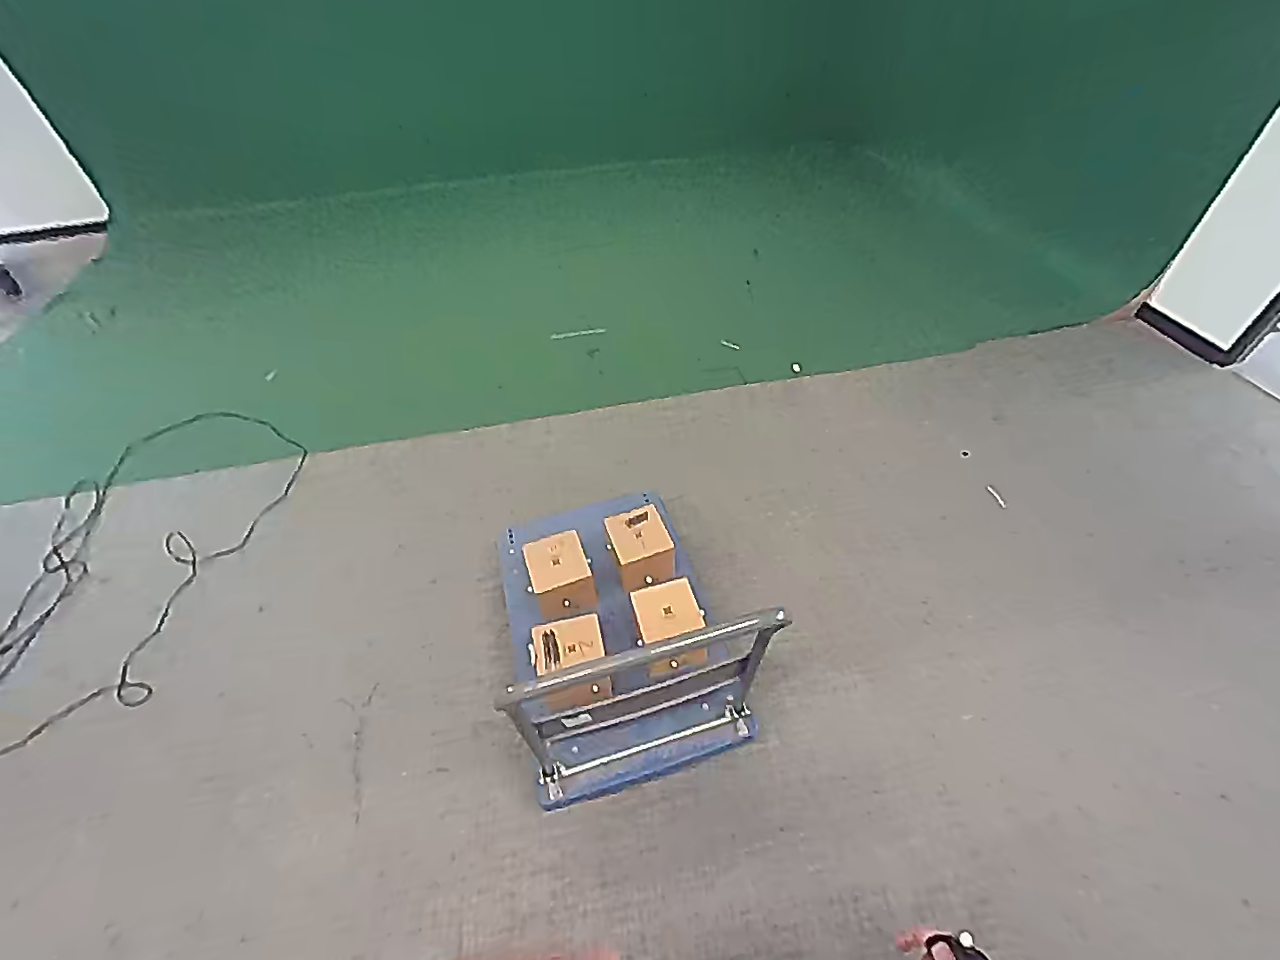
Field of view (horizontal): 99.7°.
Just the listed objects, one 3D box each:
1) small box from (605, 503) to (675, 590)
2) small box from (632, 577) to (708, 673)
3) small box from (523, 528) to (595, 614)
[{"bbox_3d":[-0.001,0.204,1.652,0.168,0.176,0.179,-17,51,-11],"label":"small box"},{"bbox_3d":[0.076,0.397,1.479,0.168,0.176,0.179,-13,49,-9],"label":"small box"},{"bbox_3d":[-0.236,0.277,1.600,0.168,0.176,0.179,-16,49,-12],"label":"small box"}]
